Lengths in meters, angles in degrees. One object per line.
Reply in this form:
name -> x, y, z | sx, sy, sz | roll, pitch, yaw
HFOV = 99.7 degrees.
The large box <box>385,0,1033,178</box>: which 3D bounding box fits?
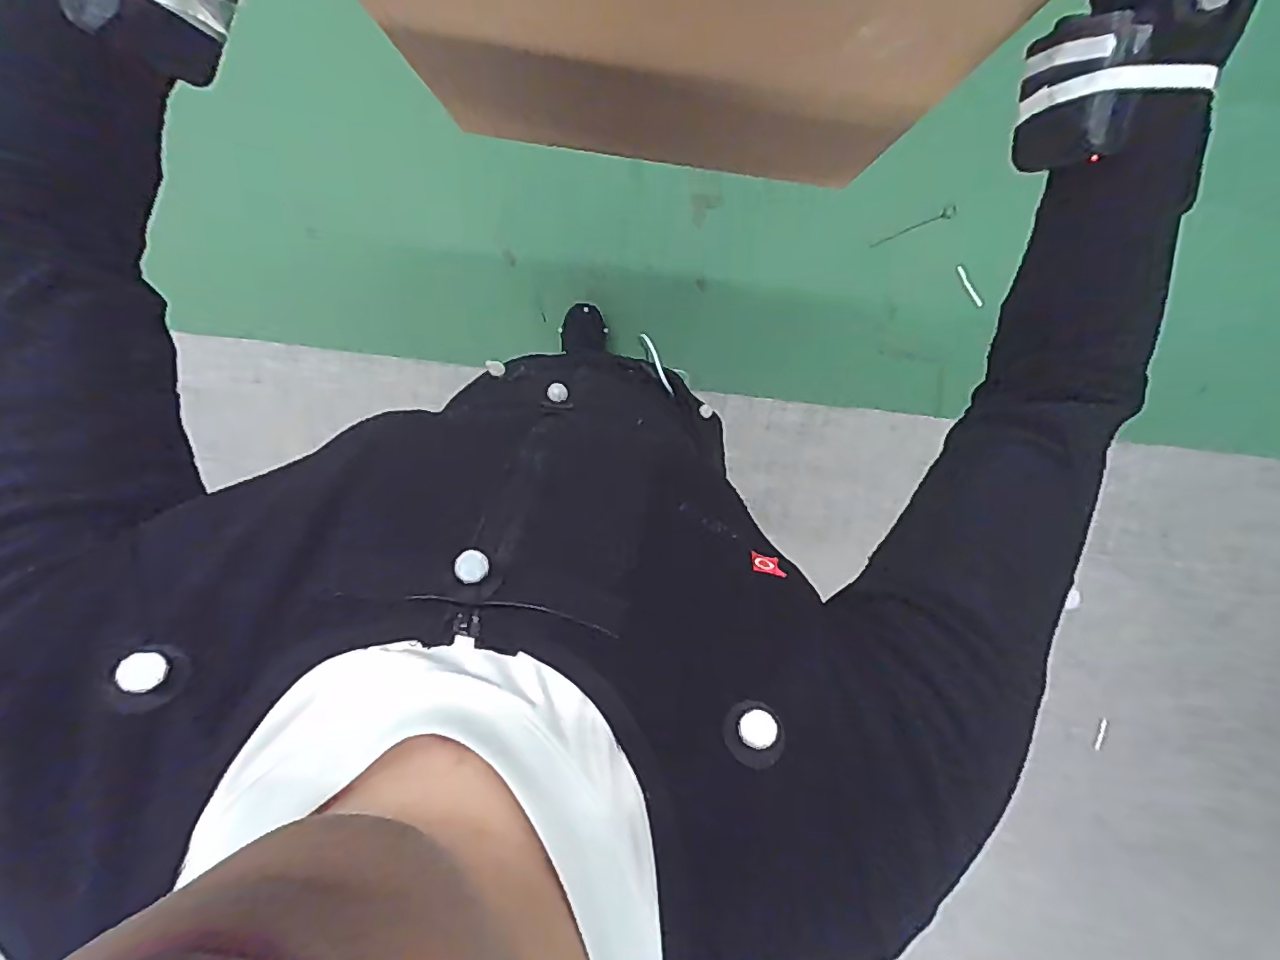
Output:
large box -> 0.038, -0.454, 0.387 | 0.408, 0.320, 0.320 | 7, 102, -2
